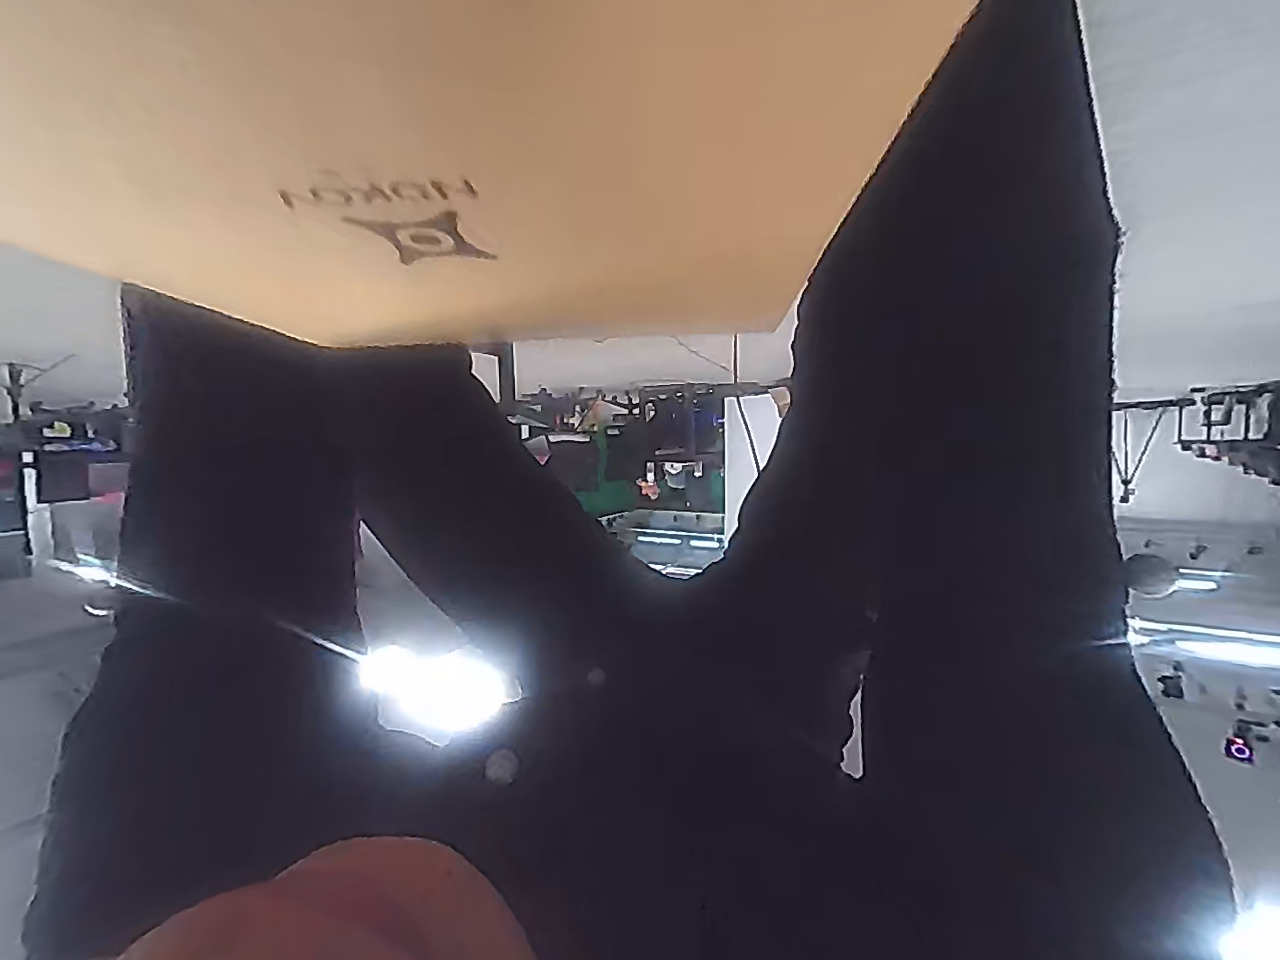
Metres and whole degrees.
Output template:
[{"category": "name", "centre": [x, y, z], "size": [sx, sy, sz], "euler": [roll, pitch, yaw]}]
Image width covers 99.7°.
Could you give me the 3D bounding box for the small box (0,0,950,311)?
[{"category": "small box", "centre": [-0.045, -0.137, 0.095], "size": [0.168, 0.176, 0.179], "euler": [0, -178, 5]}]
